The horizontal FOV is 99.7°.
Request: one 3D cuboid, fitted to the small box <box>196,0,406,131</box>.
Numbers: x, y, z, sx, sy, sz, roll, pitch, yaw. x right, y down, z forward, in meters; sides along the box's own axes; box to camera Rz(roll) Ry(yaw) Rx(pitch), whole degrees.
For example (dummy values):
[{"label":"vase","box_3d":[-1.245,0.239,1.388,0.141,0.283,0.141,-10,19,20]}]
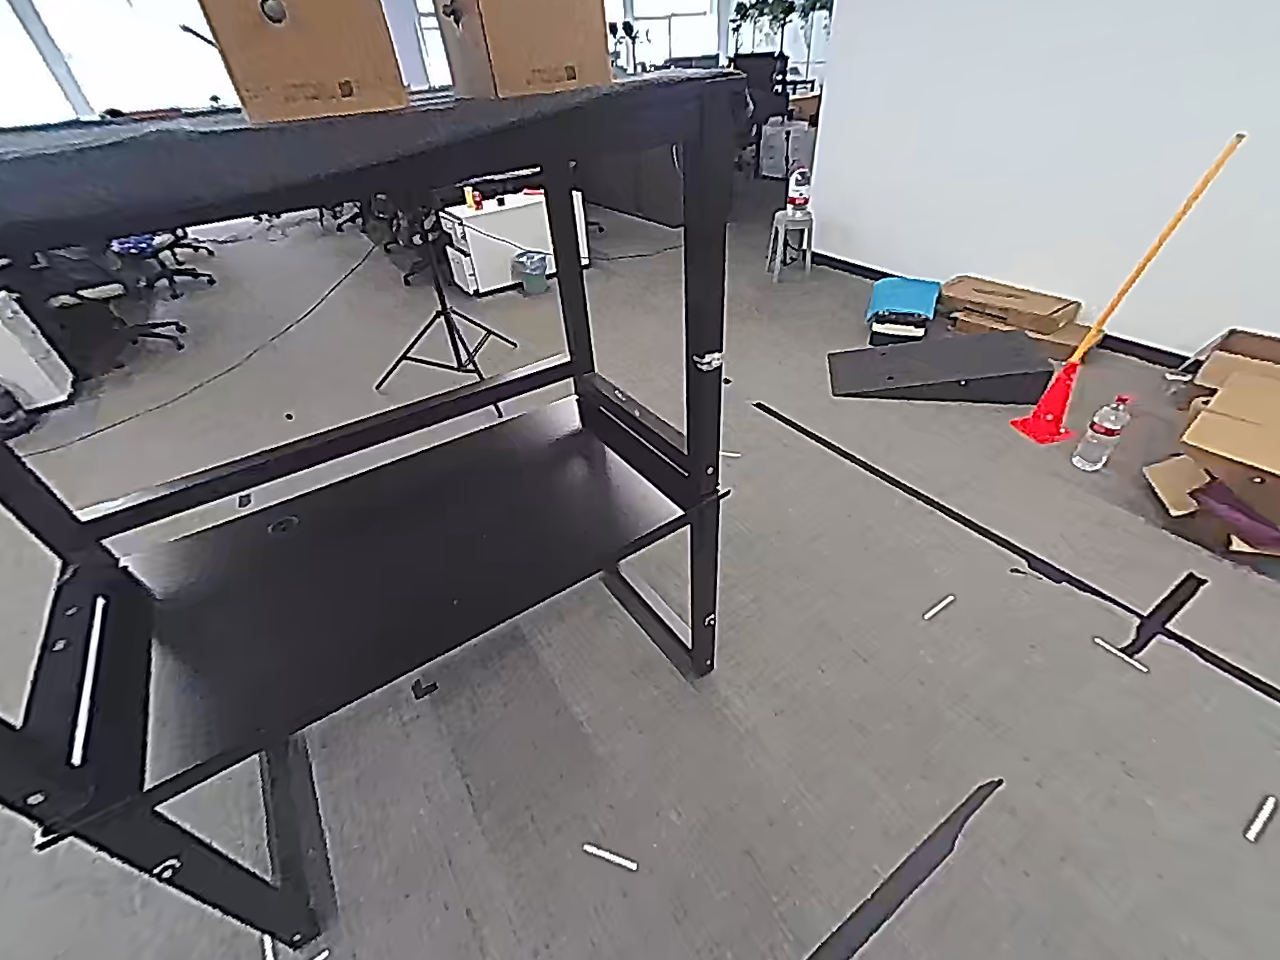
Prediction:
[{"label":"small box","box_3d":[-0.382,-0.499,0.603,0.168,0.176,0.179,-23,40,-21]}]
